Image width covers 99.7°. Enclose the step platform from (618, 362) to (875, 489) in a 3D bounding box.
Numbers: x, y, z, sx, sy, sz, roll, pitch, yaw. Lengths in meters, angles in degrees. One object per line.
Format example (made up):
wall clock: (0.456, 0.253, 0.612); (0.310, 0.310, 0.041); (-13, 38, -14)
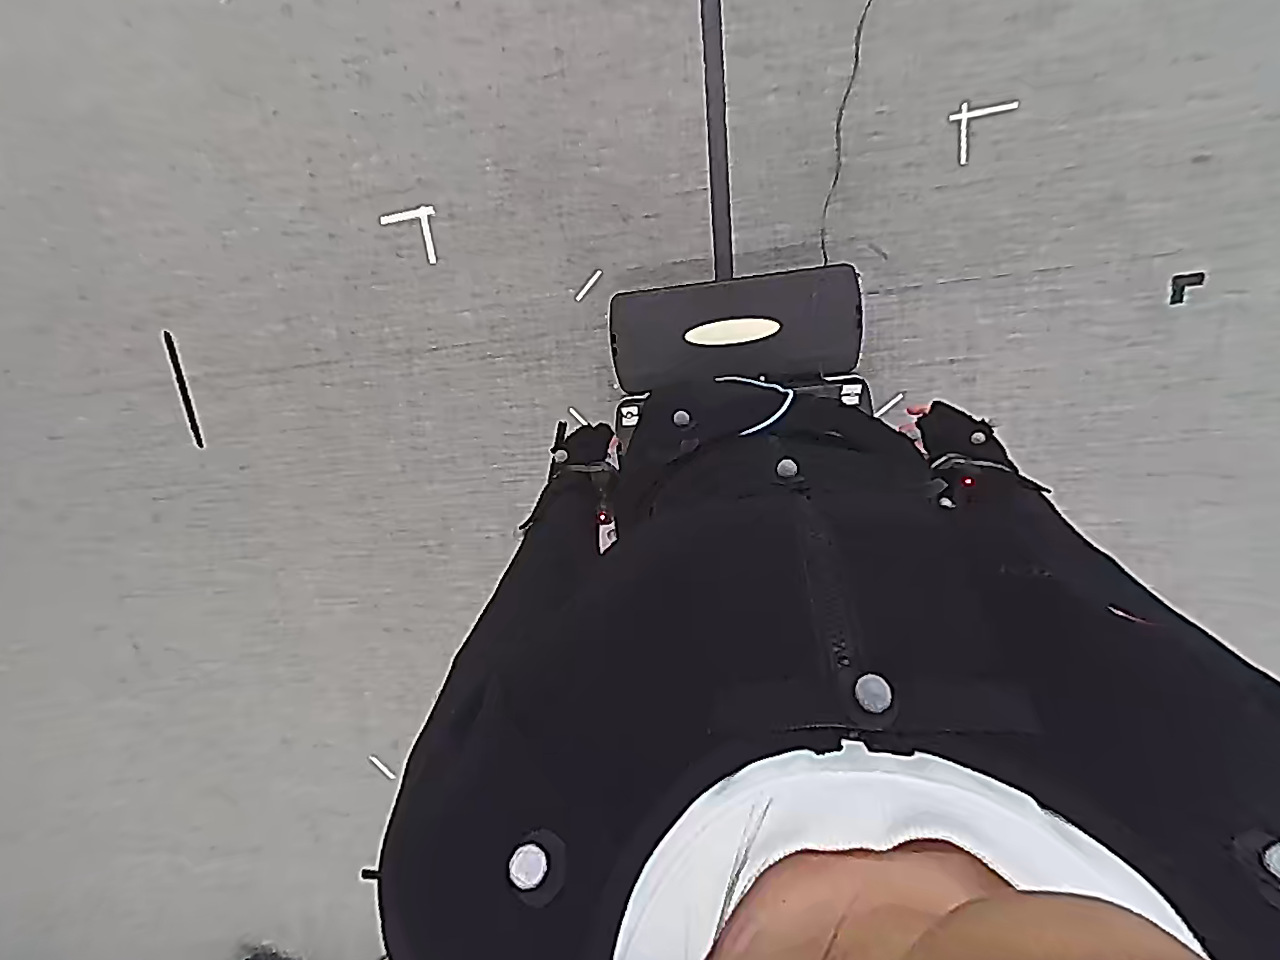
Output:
step platform: (0.281, -0.147, 1.496); (0.684, 0.204, 0.286); (-5, 101, 11)
